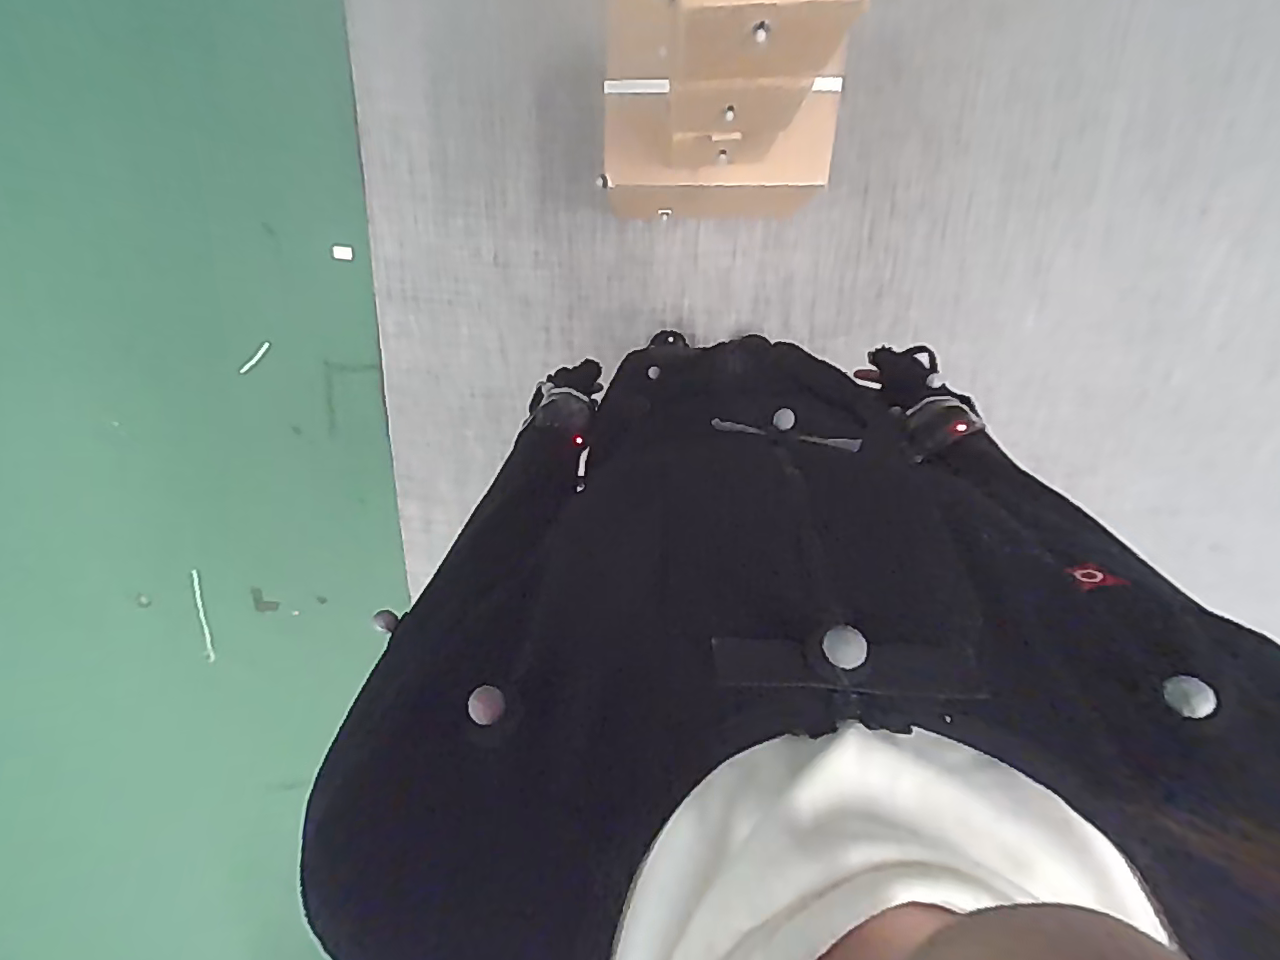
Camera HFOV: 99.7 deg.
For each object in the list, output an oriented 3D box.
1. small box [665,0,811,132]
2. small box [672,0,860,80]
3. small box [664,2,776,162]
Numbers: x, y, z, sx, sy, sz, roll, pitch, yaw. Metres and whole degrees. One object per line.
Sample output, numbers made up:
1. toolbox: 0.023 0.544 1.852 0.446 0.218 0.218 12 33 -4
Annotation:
1. small box: 0.124 -0.576 0.706 0.179 0.176 0.168 2 107 4
2. small box: 0.121 -0.535 0.550 0.179 0.176 0.168 -1 108 2
3. small box: 0.125 -0.625 0.864 0.168 0.176 0.179 -2 107 4
